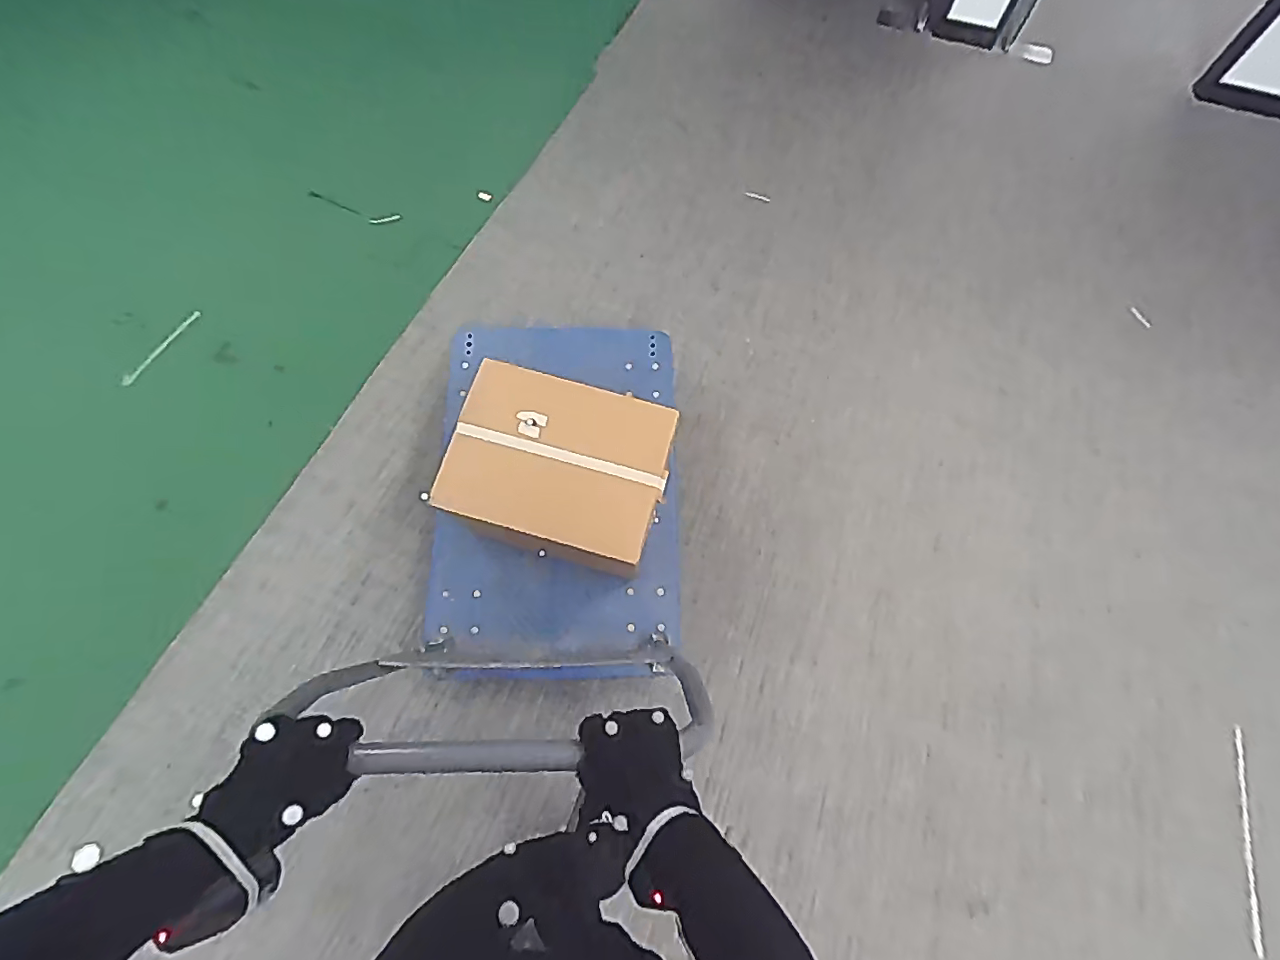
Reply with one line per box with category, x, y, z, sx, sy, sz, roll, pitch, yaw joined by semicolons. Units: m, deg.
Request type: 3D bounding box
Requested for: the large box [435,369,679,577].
large box;-0.149;0.005;1.163;0.408;0.320;0.320;15;75;4
